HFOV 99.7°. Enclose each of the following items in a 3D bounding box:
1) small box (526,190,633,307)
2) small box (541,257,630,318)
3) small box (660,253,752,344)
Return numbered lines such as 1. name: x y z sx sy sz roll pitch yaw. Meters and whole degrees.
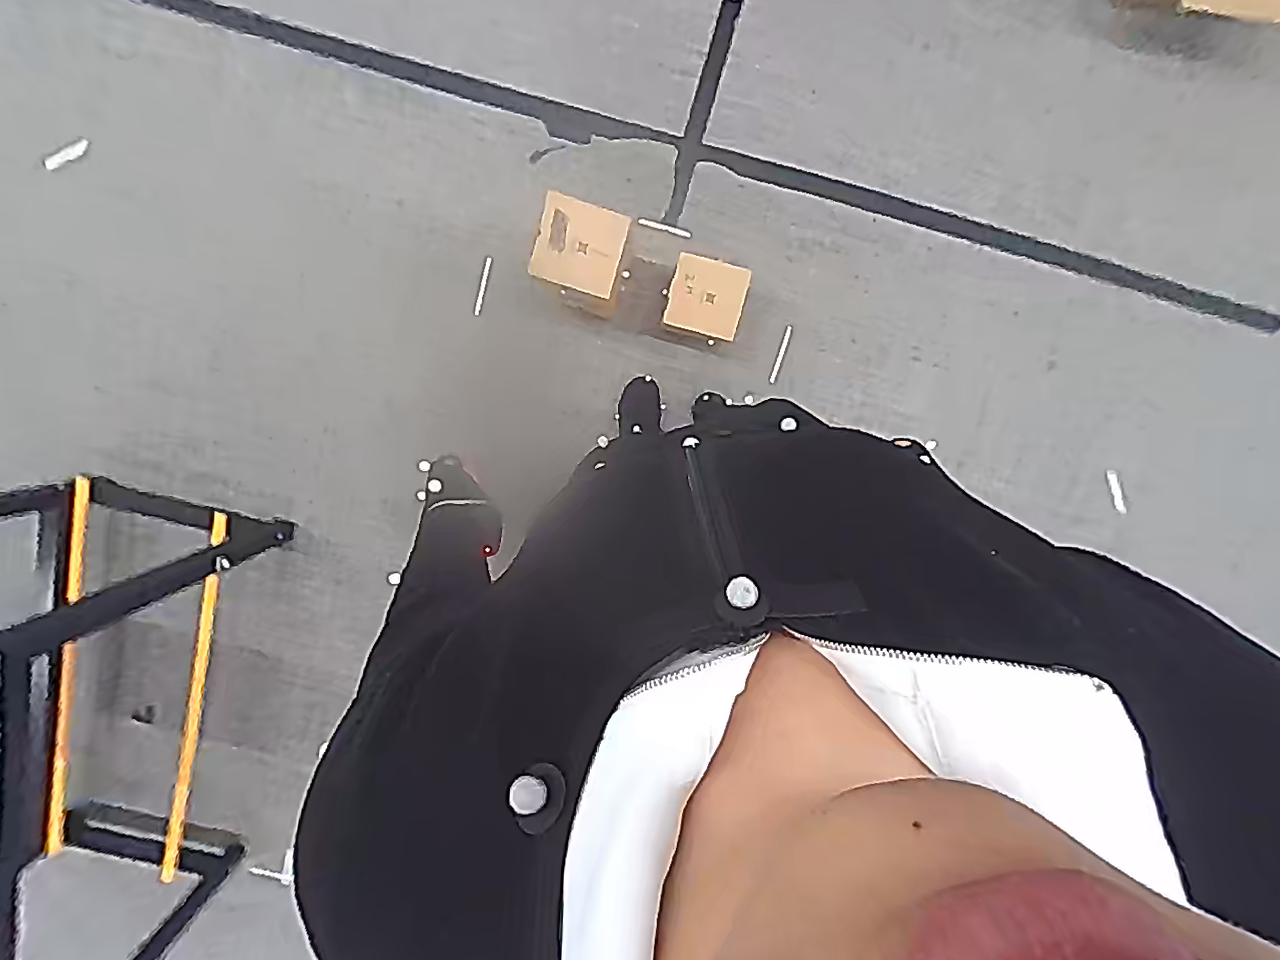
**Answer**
1. small box: -0.122 -0.480 1.150 0.179 0.176 0.168 18 101 -3
2. small box: -0.124 -0.506 1.314 0.168 0.176 0.179 18 102 -3
3. small box: 0.154 -0.436 1.326 0.179 0.176 0.168 15 101 -2
